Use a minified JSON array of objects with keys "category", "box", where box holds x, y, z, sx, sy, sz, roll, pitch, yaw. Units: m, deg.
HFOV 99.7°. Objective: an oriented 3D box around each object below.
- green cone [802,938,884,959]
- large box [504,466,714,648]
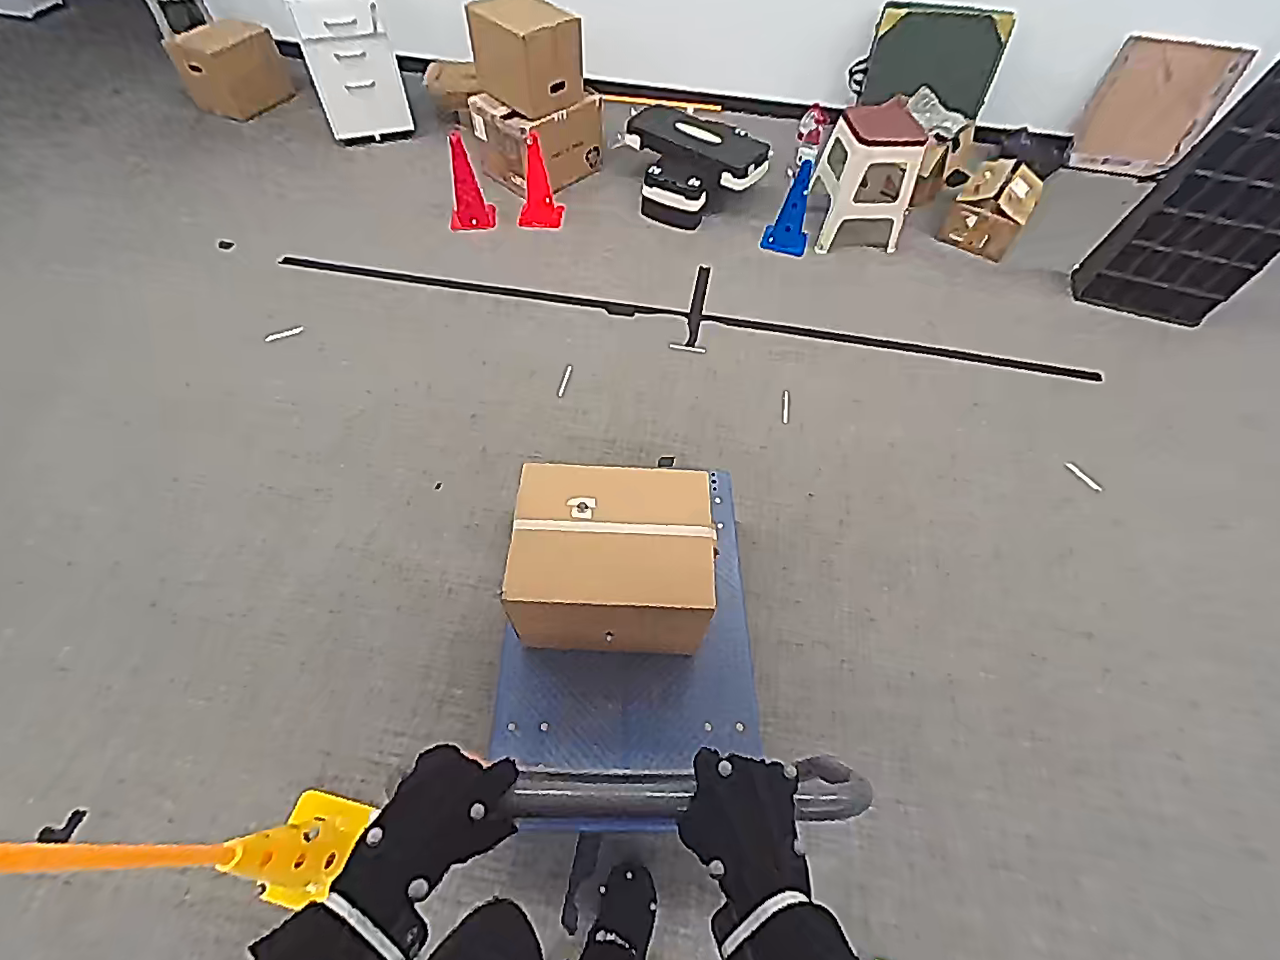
[{"category":"green cone","box":[0.420,0.948,0.912,0.202,0.368,0.200,14,57,5]},{"category":"large box","box":[-0.057,0.184,1.220,0.408,0.320,0.320,3,57,0]}]
